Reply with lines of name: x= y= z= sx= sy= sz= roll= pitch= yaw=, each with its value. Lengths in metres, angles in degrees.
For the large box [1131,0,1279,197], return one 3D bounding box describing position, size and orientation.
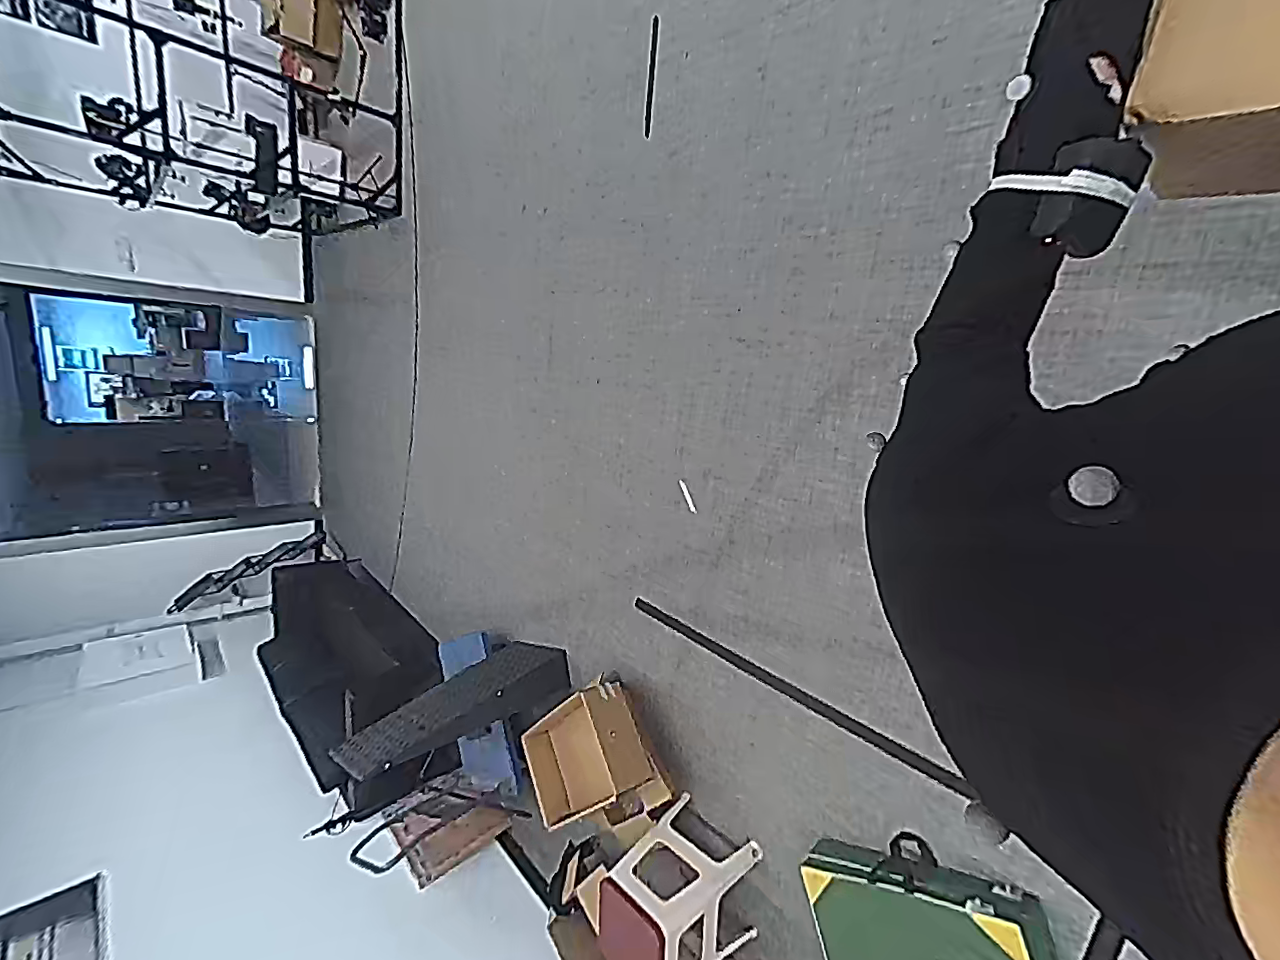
large box: x=0.590 y=-0.373 z=0.302 sx=0.408 sy=0.320 sz=0.320 roll=20 pitch=115 yaw=42
